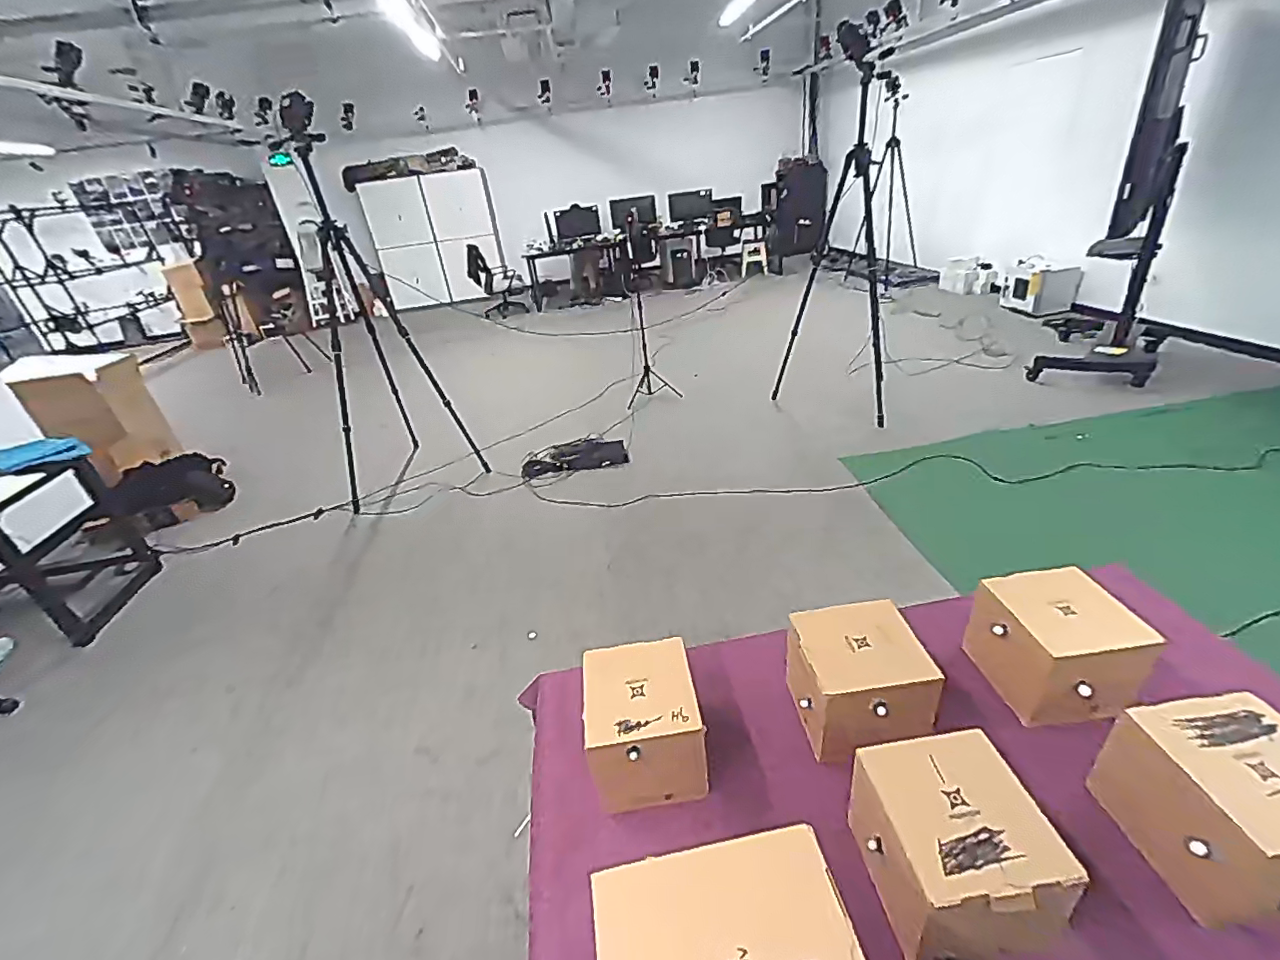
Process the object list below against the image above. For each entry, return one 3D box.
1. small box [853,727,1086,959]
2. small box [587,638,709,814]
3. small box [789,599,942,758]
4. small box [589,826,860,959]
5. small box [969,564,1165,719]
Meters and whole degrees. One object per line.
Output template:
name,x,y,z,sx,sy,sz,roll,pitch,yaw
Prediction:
small box,0.374,0.439,0.653,0.168,0.176,0.179,-9,28,-1
small box,0.010,0.382,0.851,0.168,0.176,0.179,-9,29,-2
small box,0.350,0.320,0.871,0.179,0.176,0.168,-8,30,0
small box,0.067,0.391,0.389,0.179,0.176,0.168,-9,34,-4
small box,0.673,0.266,0.879,0.168,0.176,0.179,-9,29,0
